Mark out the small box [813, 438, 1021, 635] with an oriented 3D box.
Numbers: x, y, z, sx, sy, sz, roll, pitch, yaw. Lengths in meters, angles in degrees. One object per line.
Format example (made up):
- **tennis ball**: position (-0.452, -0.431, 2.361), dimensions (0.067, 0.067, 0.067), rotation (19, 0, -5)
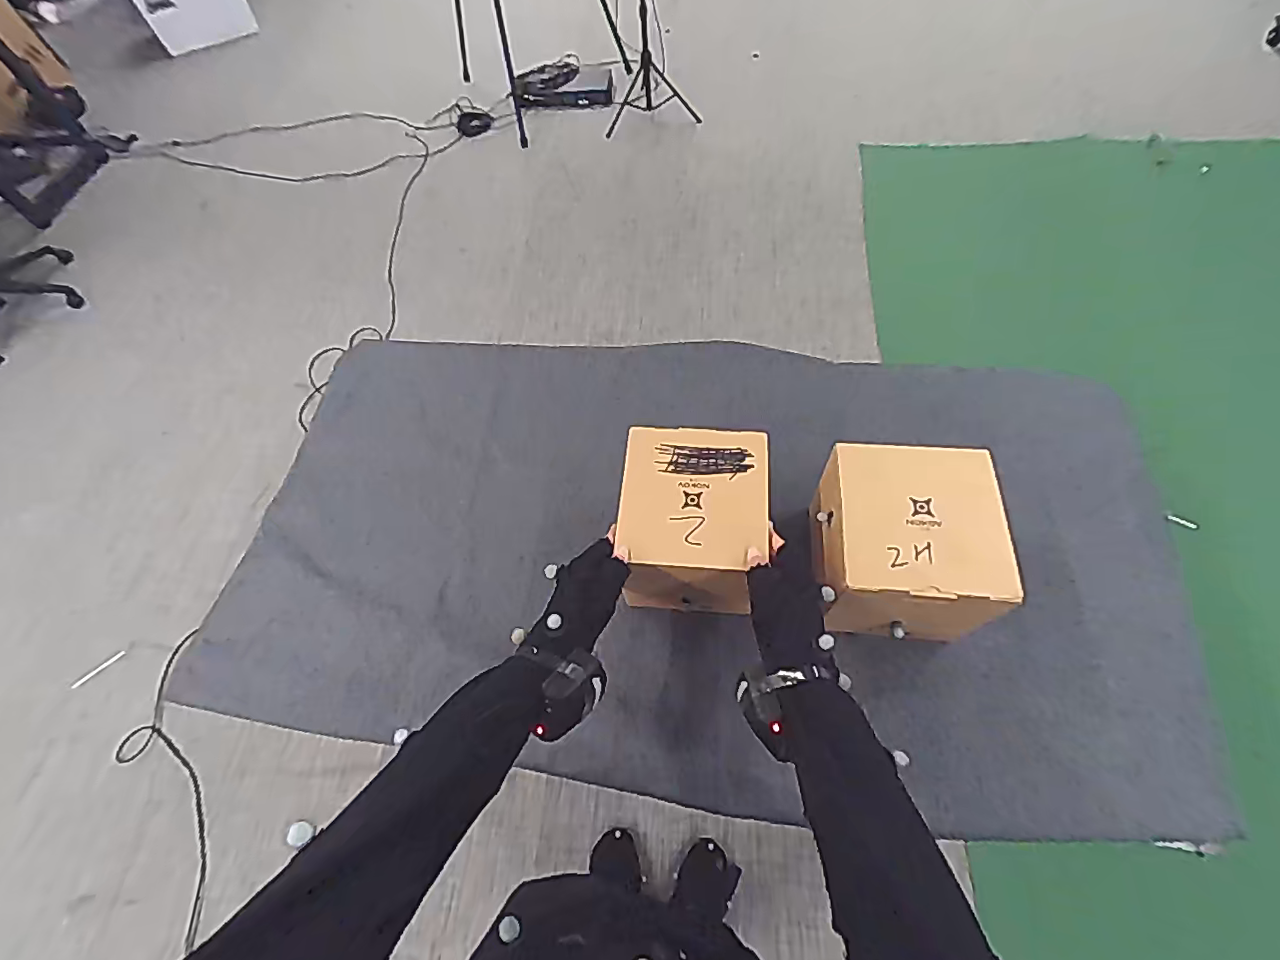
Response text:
- **small box**: position (0.305, 0.071, 0.641), dimensions (0.168, 0.176, 0.179), rotation (3, 61, 8)
